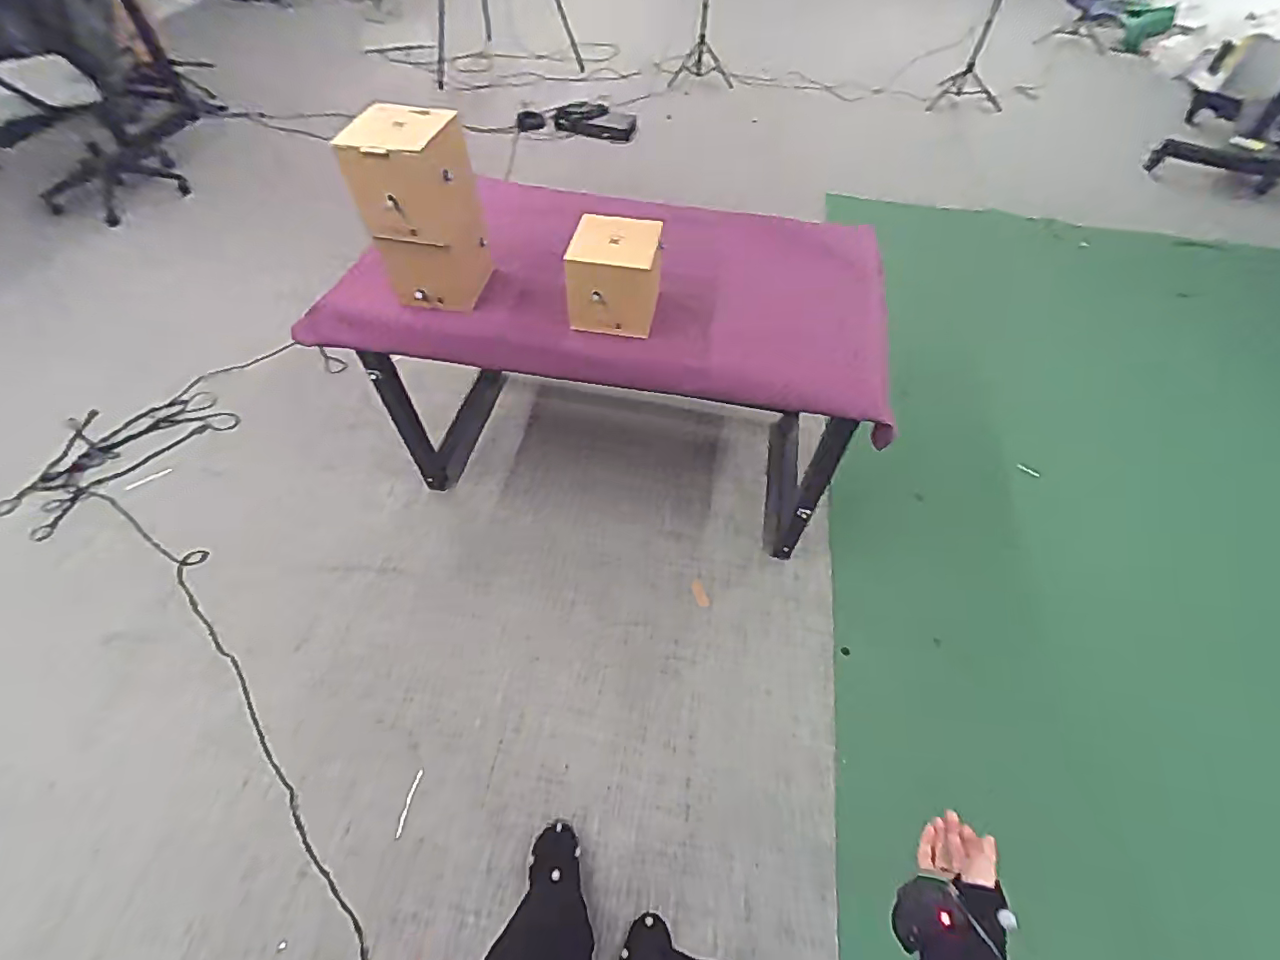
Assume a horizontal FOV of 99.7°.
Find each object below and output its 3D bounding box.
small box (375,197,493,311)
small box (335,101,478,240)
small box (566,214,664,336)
[{"bbox_3d":[-0.427,-0.494,1.161,0.168,0.176,0.179,9,55,5],"label":"small box"},{"bbox_3d":[-0.424,-0.580,1.022,0.168,0.176,0.179,10,55,6],"label":"small box"},{"bbox_3d":[-0.046,-0.423,1.124,0.168,0.176,0.179,9,53,5],"label":"small box"}]
